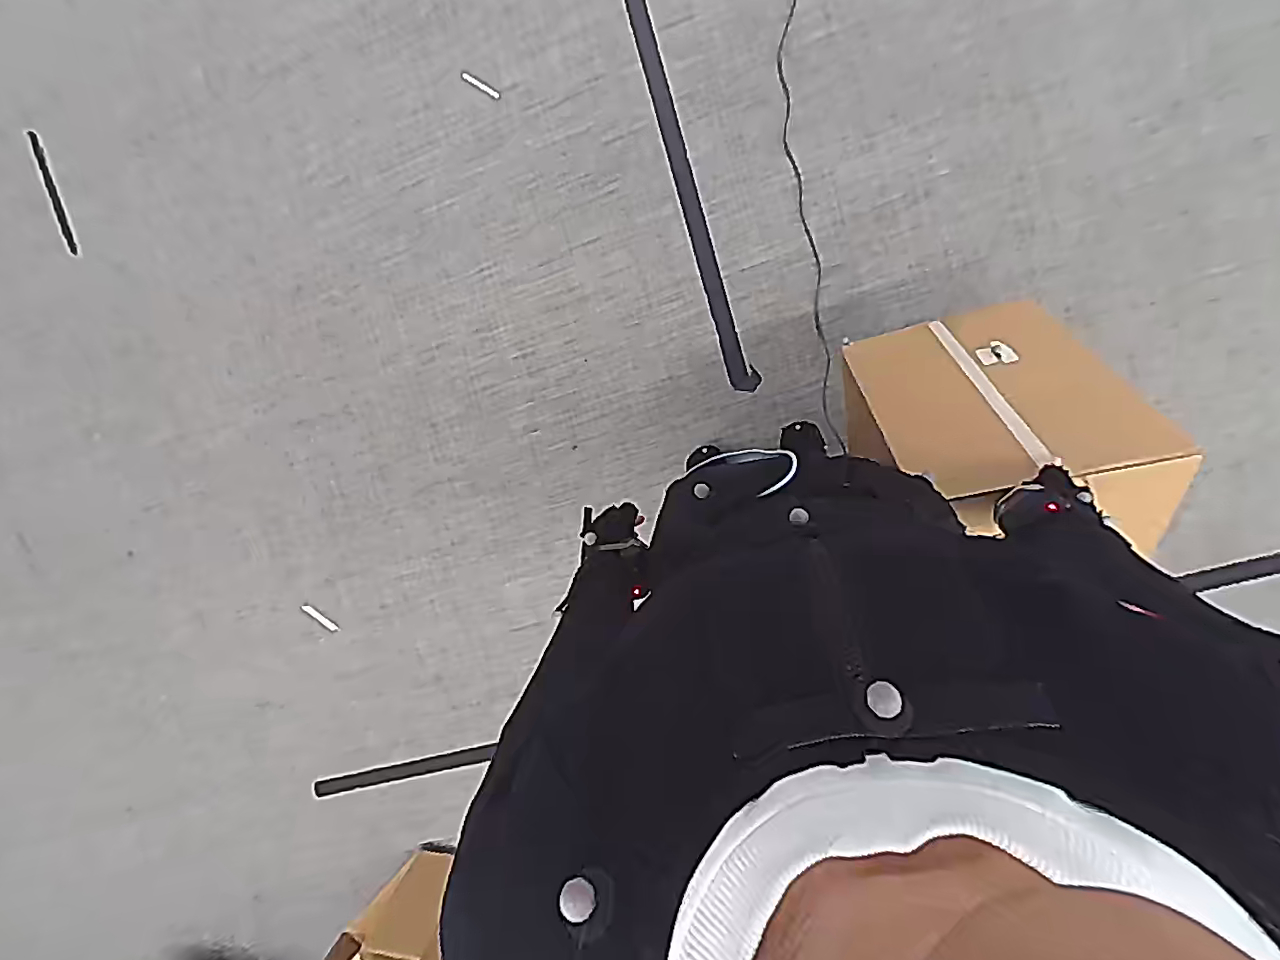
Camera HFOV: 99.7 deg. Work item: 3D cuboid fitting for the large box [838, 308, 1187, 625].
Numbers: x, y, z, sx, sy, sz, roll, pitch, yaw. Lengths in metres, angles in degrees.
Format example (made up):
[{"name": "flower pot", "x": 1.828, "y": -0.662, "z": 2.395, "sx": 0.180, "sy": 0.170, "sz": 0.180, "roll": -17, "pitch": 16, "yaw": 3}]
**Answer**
[{"name": "large box", "x": 0.556, "y": -0.026, "z": 0.912, "sx": 0.320, "sy": 0.408, "sz": 0.320, "roll": -12, "pitch": 131, "yaw": 11}]
